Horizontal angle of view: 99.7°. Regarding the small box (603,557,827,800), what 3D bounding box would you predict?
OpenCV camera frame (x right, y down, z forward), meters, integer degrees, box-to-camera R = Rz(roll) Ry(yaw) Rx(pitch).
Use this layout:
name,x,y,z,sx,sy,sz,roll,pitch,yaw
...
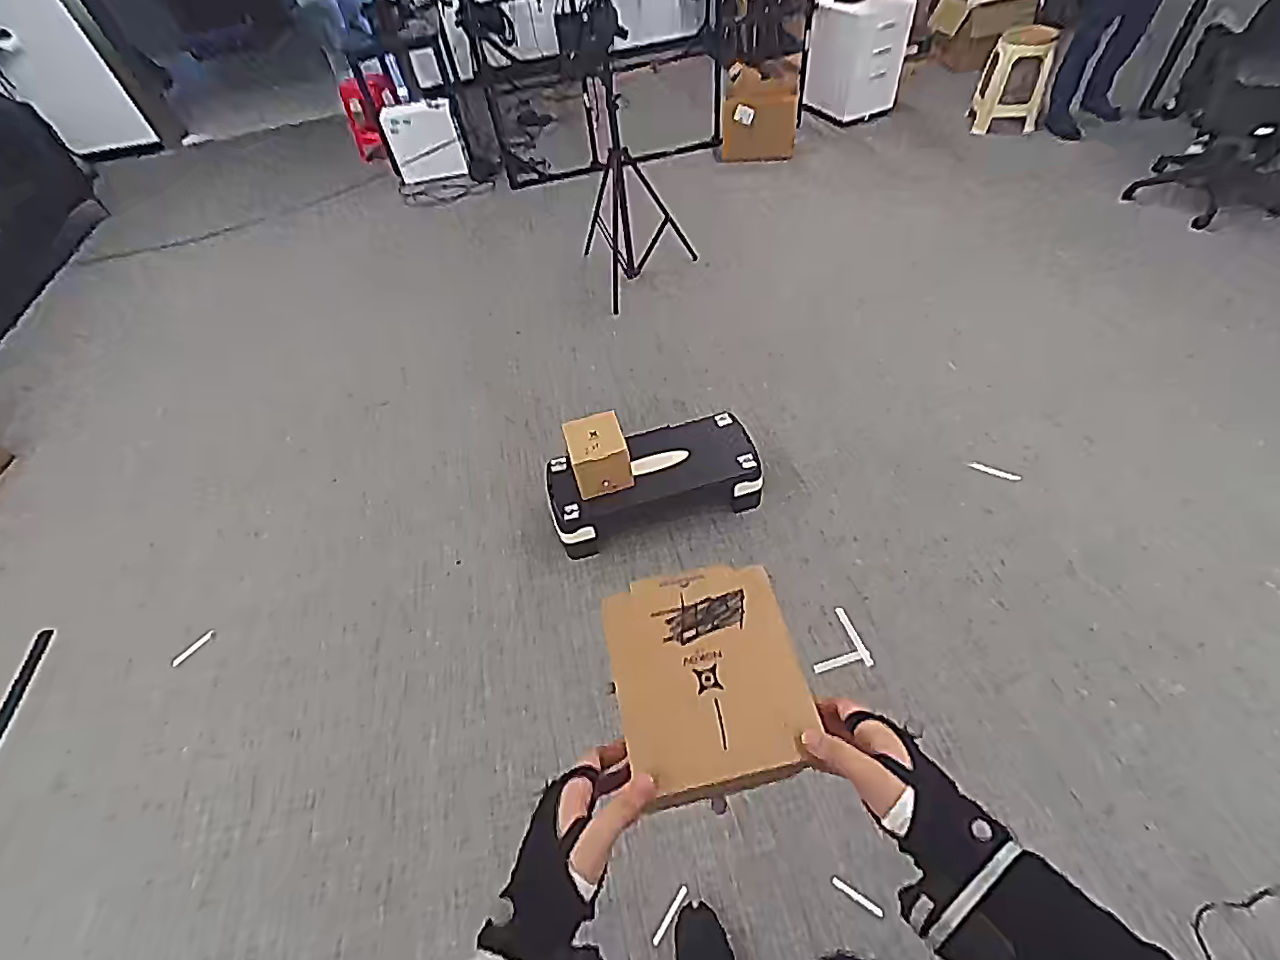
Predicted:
name,x,y,z,sx,sy,sz,roll,pitch,yaw
small box,0.059,0.204,0.547,0.168,0.176,0.179,-10,56,-5

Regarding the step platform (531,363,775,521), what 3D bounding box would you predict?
name,x,y,z,sx,sy,sz,roll,pitch,yaw
step platform,0.038,-0.111,1.590,0.684,0.204,0.286,-15,51,-6

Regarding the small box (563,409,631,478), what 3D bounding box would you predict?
name,x,y,z,sx,sy,sz,roll,pitch,yaw
small box,-0.128,-0.081,1.632,0.168,0.176,0.179,-16,51,-5
